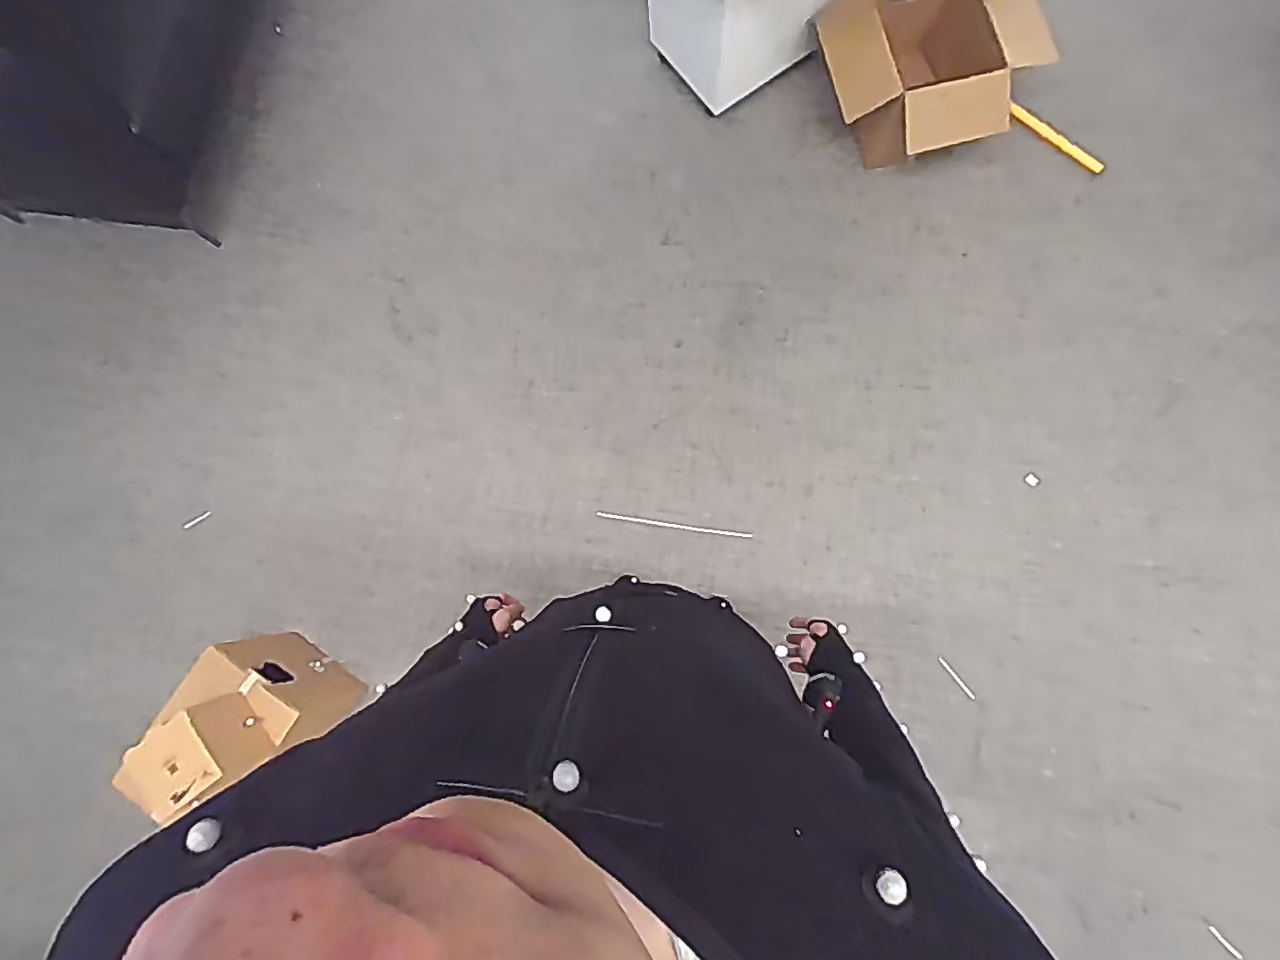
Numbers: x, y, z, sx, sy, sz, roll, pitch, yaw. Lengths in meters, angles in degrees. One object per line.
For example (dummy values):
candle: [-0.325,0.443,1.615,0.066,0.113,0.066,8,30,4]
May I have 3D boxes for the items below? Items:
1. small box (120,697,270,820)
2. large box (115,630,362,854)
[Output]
small box: [-1.016,0.627,1.250,0.168,0.176,0.179,-38,82,-3]
large box: [-1.072,0.685,1.493,0.320,0.320,0.408,32,85,8]
